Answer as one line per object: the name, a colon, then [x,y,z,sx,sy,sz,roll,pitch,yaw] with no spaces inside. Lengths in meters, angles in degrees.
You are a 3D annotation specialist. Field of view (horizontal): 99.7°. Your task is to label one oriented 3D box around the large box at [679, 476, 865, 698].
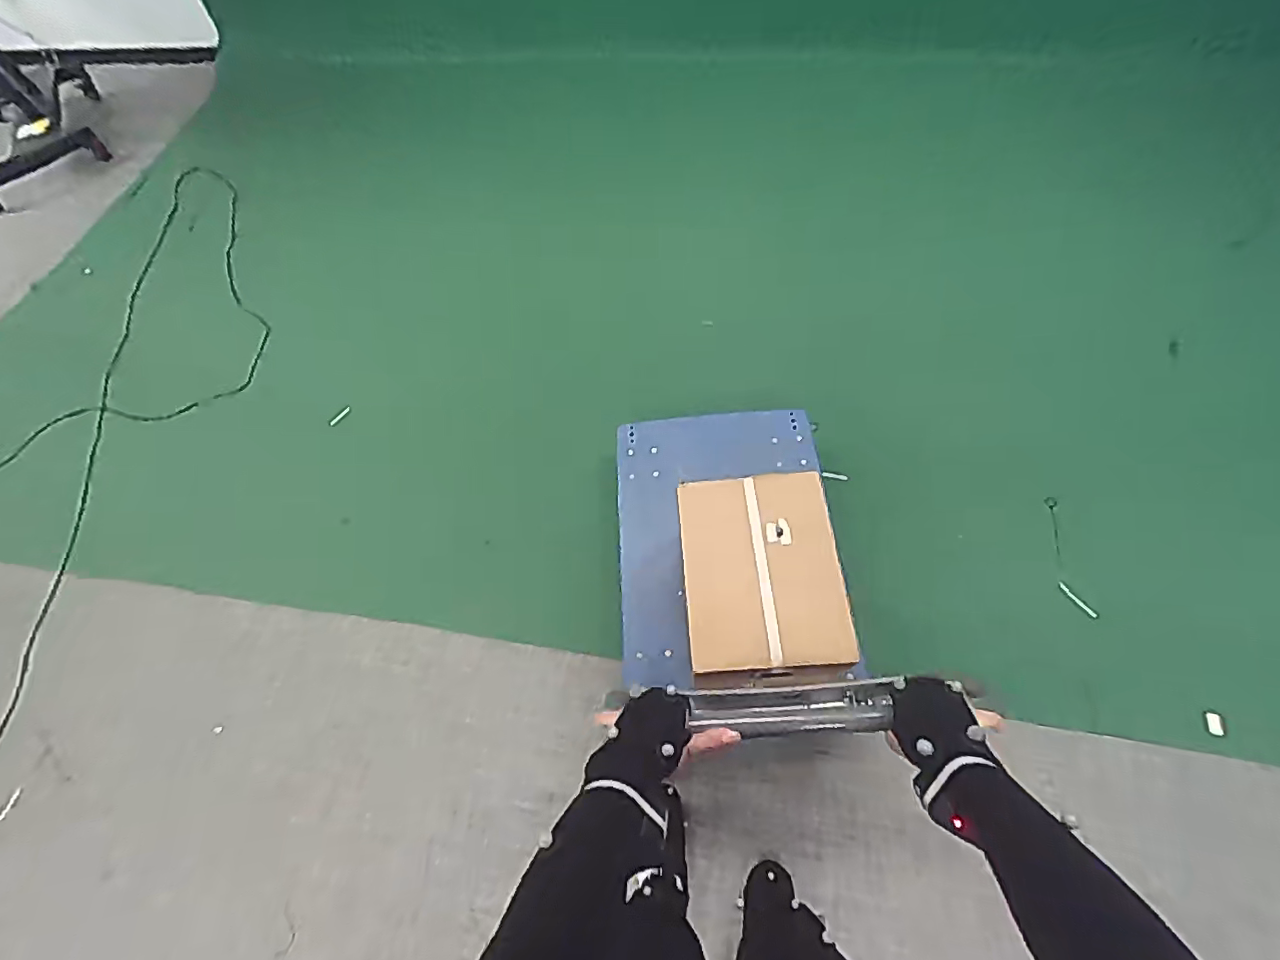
large box: [0.265,0.250,1.220,0.320,0.320,0.408,-5,61,3]
